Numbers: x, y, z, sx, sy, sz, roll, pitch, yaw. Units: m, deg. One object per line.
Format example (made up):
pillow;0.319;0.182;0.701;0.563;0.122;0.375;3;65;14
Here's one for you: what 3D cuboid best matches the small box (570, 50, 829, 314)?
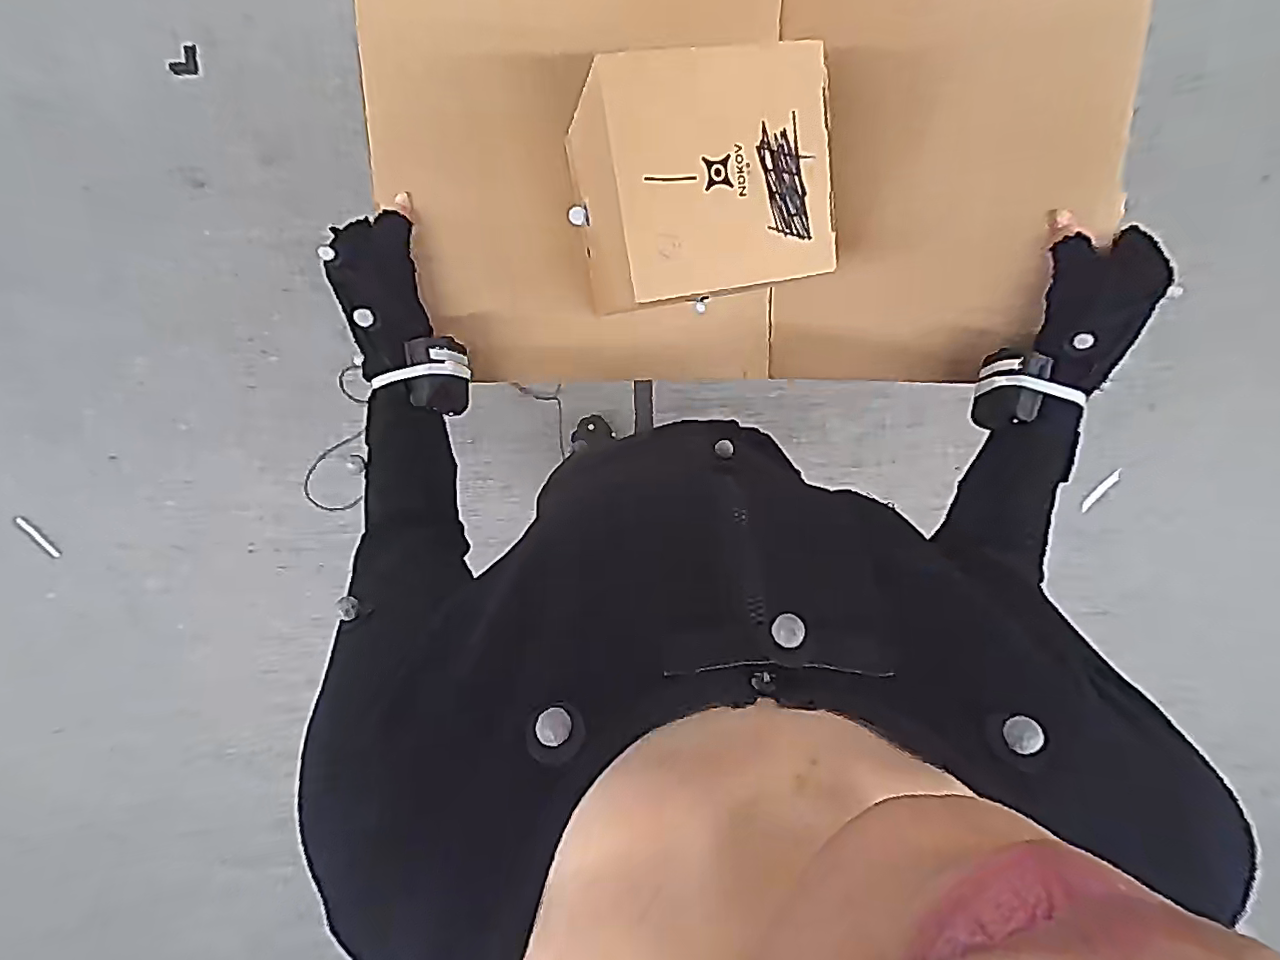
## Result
small box;0.045;-0.251;0.490;0.179;0.176;0.168;-13;105;-11
